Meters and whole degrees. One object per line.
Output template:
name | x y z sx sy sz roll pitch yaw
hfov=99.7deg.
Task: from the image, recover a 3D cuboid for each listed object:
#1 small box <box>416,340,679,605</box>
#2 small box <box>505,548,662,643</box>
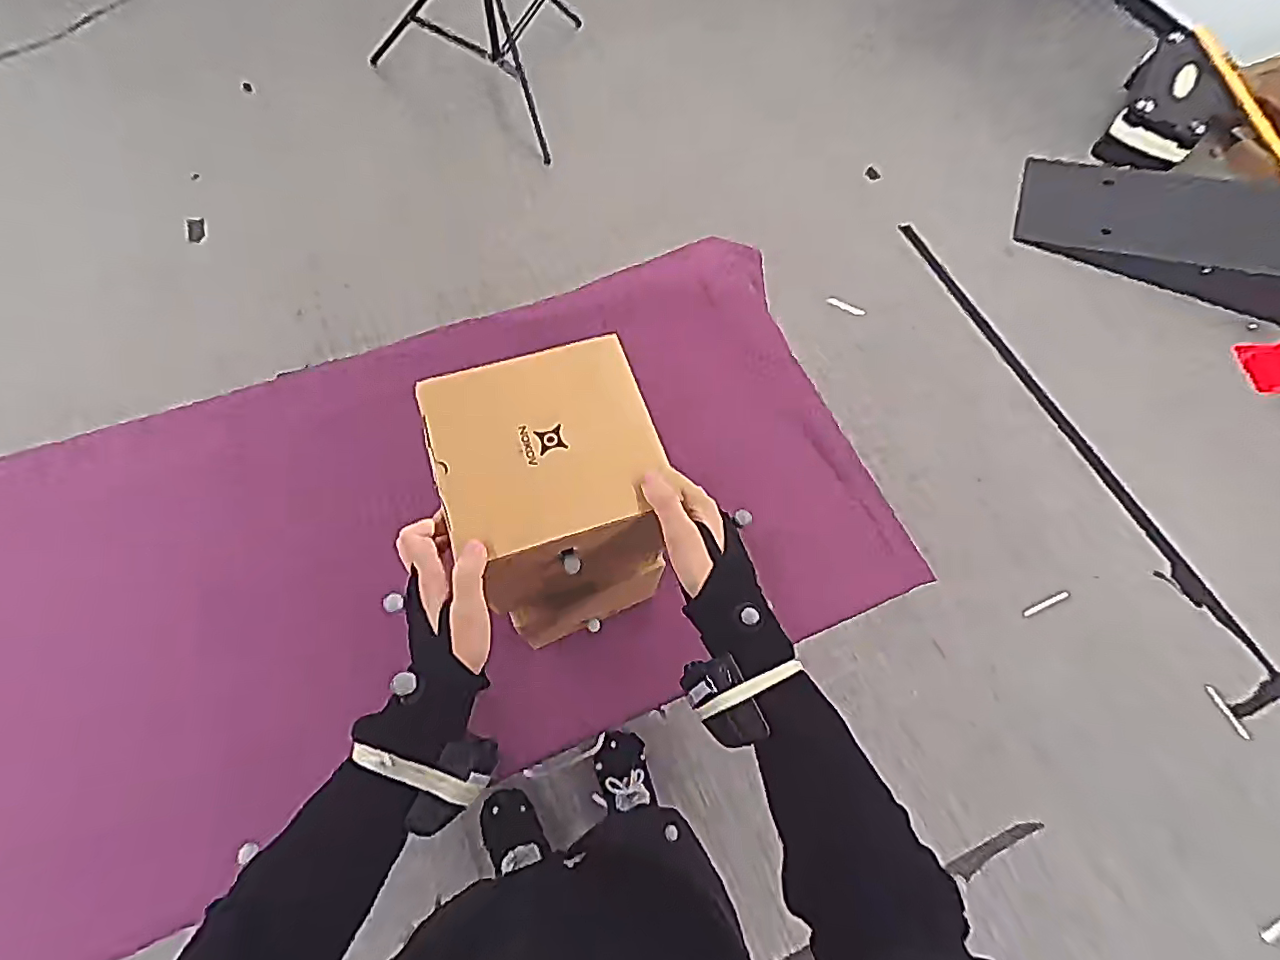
small box | -0.081 0.002 0.503 0.179 0.176 0.168 -17 69 -10
small box | -0.089 0.076 0.647 0.168 0.176 0.179 -21 70 -12
